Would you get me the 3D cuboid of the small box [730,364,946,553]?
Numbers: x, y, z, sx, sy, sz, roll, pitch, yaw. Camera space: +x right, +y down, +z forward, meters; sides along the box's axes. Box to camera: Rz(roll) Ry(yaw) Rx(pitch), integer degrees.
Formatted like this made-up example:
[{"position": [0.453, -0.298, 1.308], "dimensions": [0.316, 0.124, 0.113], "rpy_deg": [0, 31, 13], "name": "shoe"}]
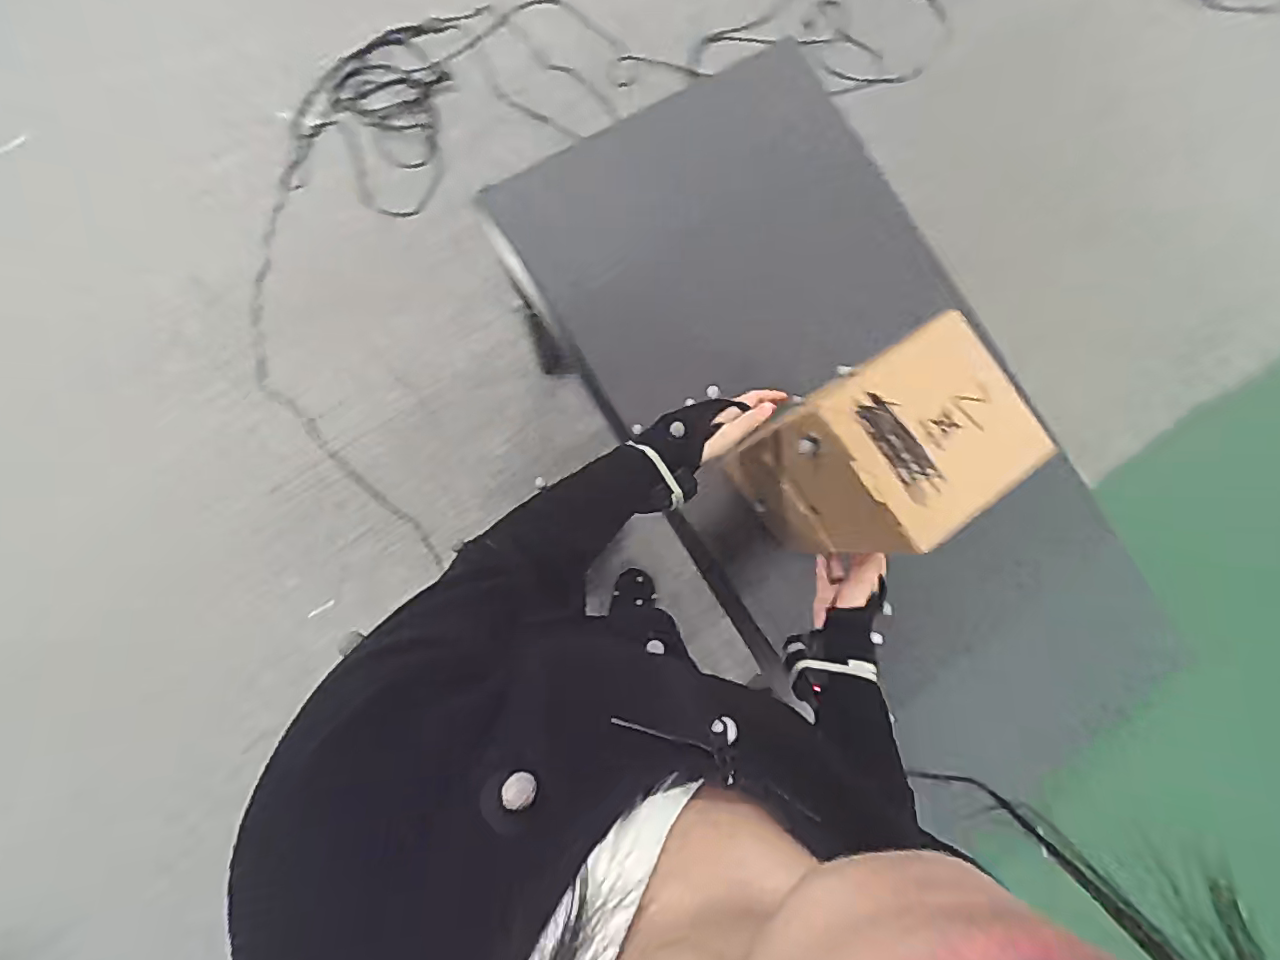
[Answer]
[{"position": [0.248, -0.021, 0.721], "dimensions": [0.179, 0.176, 0.168], "rpy_deg": [-36, 87, -8], "name": "small box"}]
